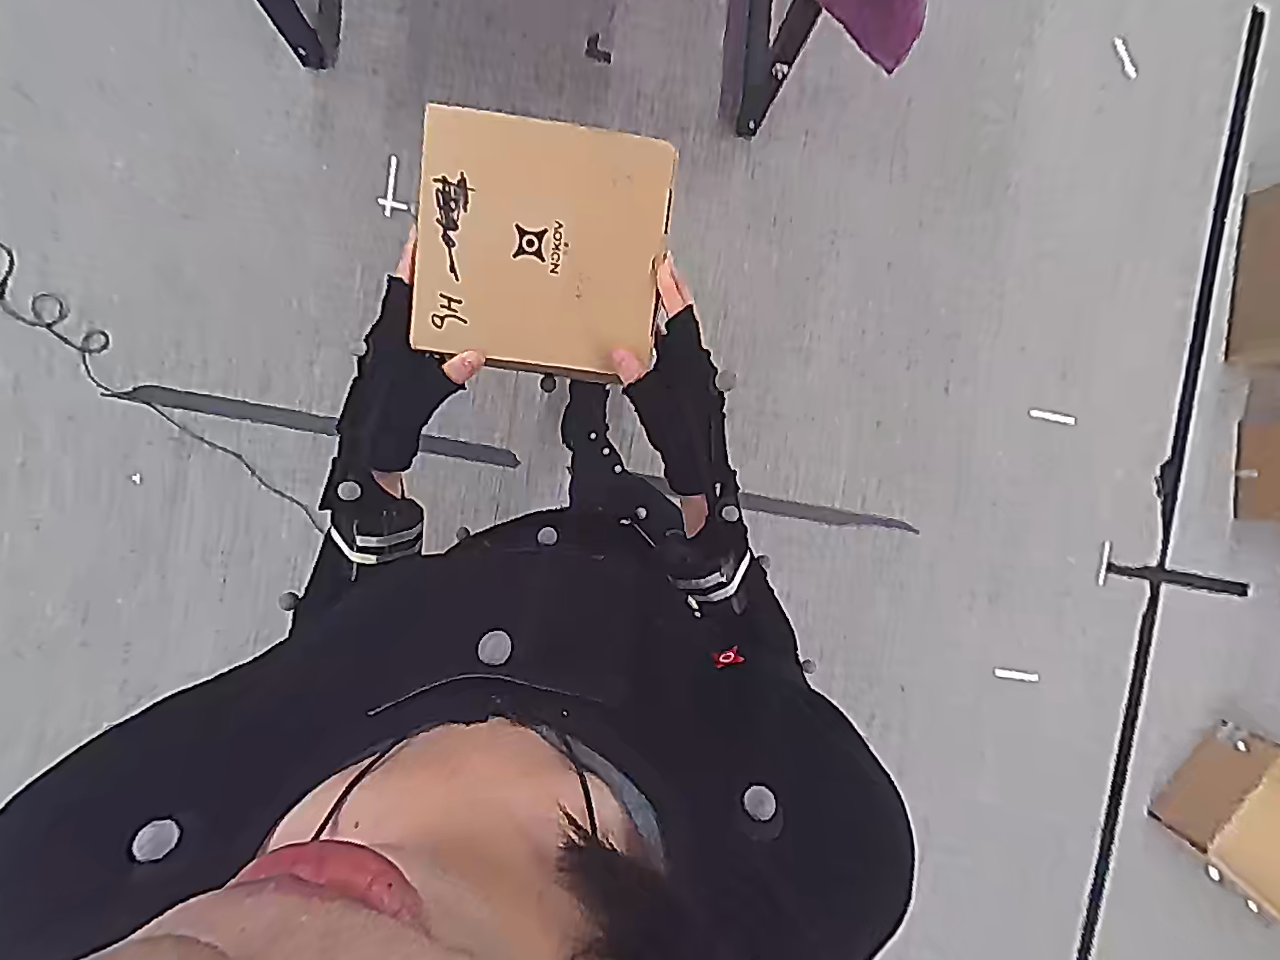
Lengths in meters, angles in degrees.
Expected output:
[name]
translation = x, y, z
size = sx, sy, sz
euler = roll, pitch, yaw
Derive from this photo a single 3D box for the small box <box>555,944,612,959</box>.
[small box]
translation = -0.163, 1.434, 1.479
size = 0.168, 0.176, 0.179
euler = 12, 90, -8
